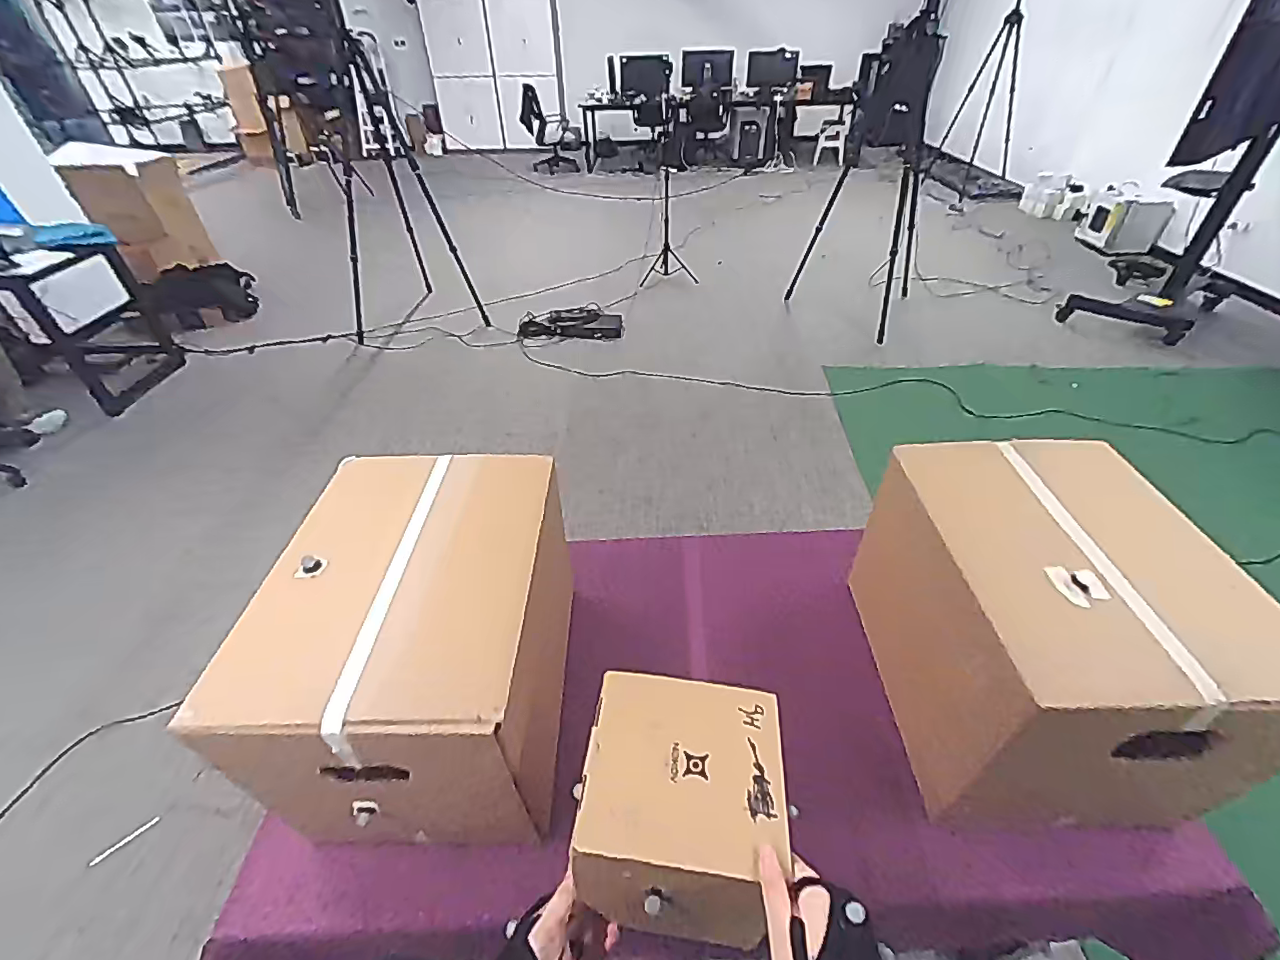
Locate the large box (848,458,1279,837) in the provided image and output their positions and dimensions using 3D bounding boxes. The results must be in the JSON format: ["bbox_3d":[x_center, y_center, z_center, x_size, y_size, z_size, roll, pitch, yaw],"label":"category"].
[{"bbox_3d":[0.529,0.212,0.747,0.320,0.320,0.408,0,41,2],"label":"large box"}]
